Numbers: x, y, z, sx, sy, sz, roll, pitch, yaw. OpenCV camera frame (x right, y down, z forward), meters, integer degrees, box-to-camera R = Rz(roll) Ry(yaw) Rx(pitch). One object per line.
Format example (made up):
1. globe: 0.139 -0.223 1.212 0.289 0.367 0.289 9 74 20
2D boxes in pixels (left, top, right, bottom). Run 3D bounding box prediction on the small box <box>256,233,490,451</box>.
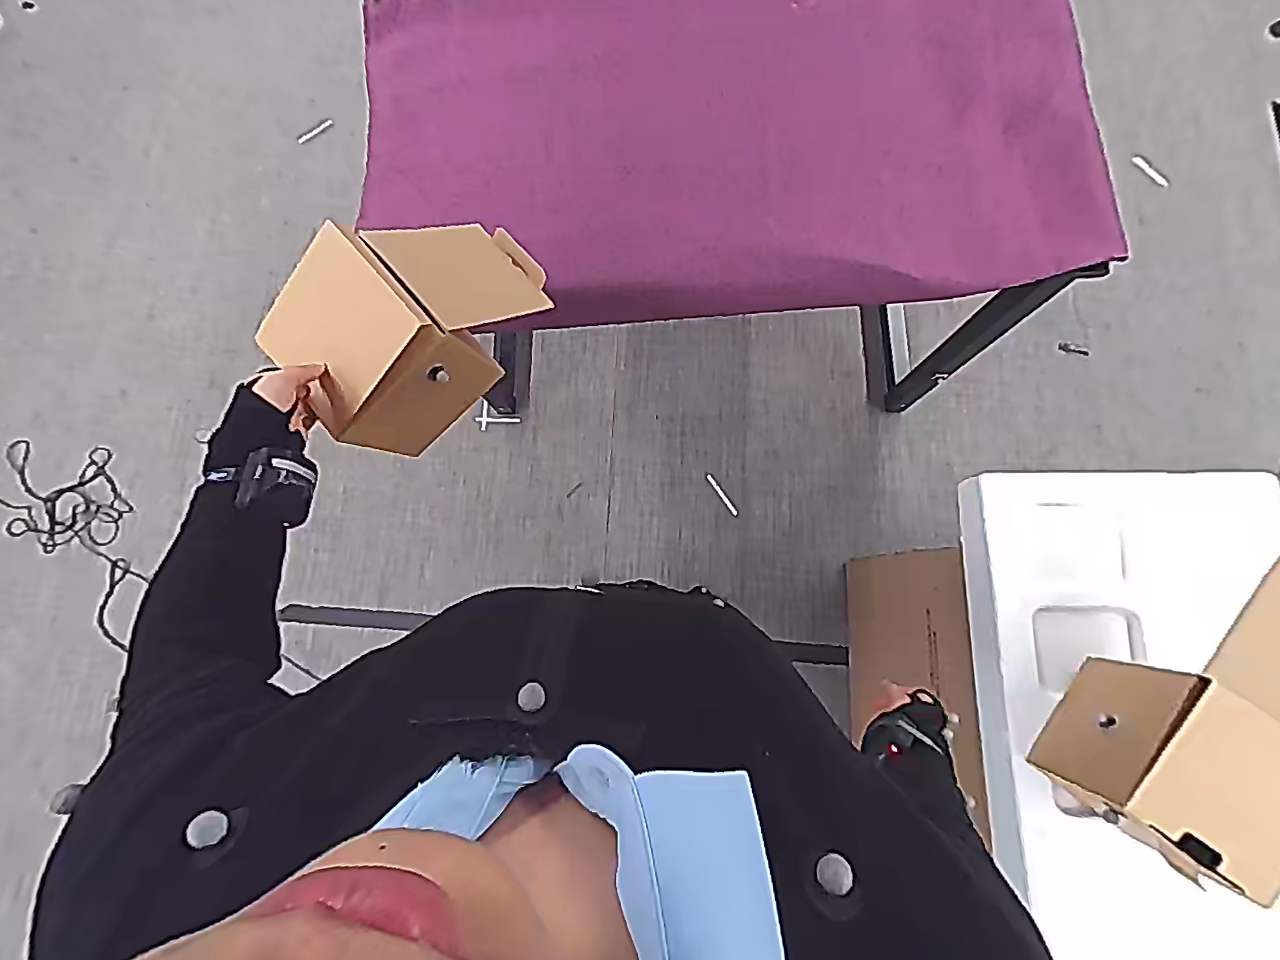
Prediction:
1. small box: -0.314 -0.159 0.682 0.179 0.176 0.168 -42 81 3
